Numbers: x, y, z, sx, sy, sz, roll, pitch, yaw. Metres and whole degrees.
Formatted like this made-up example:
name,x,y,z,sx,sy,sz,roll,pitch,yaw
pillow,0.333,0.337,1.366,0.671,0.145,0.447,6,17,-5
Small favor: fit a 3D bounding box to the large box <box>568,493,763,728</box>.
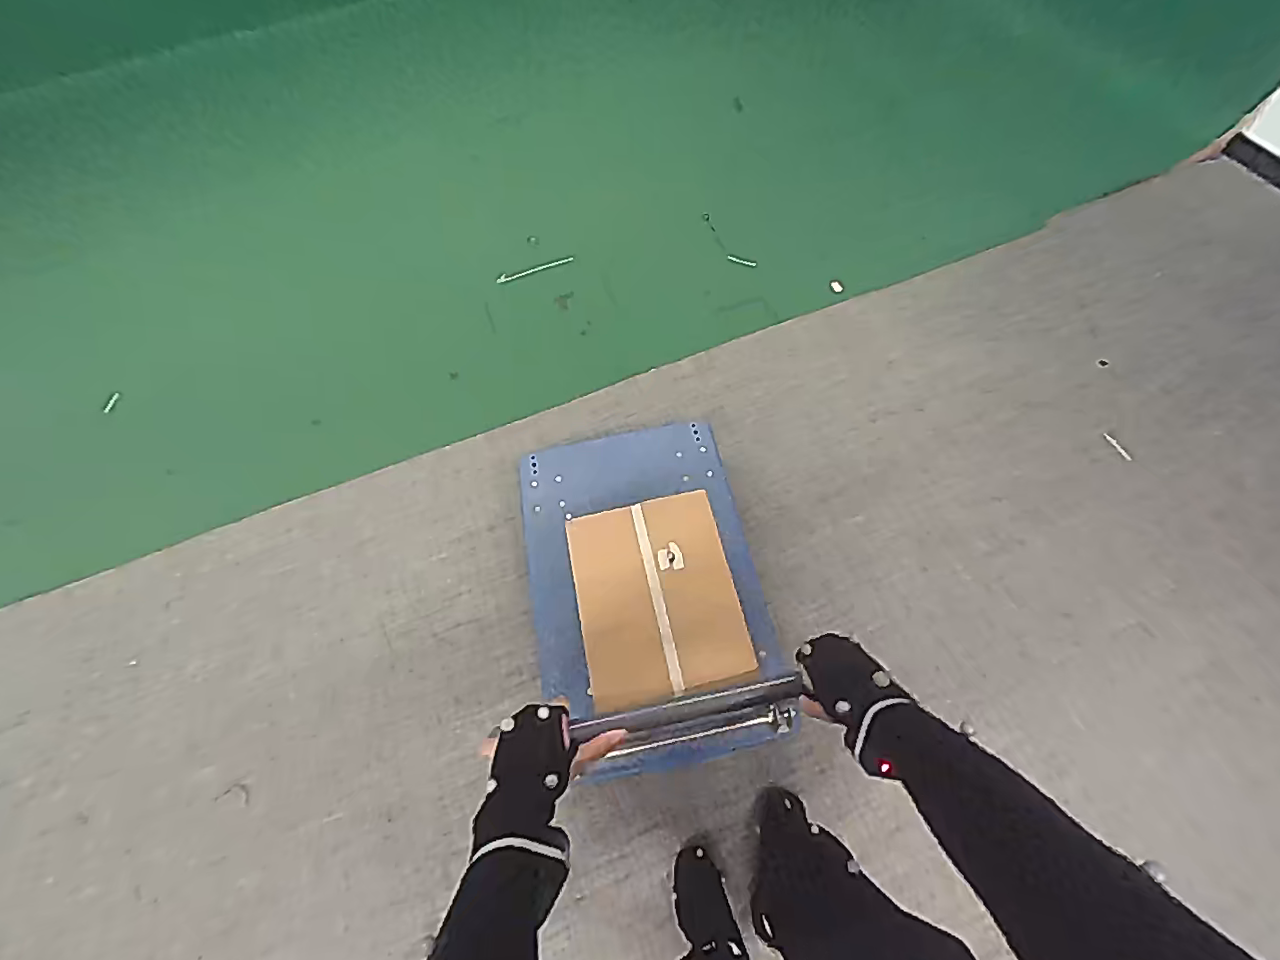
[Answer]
name,x,y,z,sx,sy,sz,roll,pitch,yaw
large box,0.049,0.300,1.209,0.320,0.320,0.408,-12,62,-3
